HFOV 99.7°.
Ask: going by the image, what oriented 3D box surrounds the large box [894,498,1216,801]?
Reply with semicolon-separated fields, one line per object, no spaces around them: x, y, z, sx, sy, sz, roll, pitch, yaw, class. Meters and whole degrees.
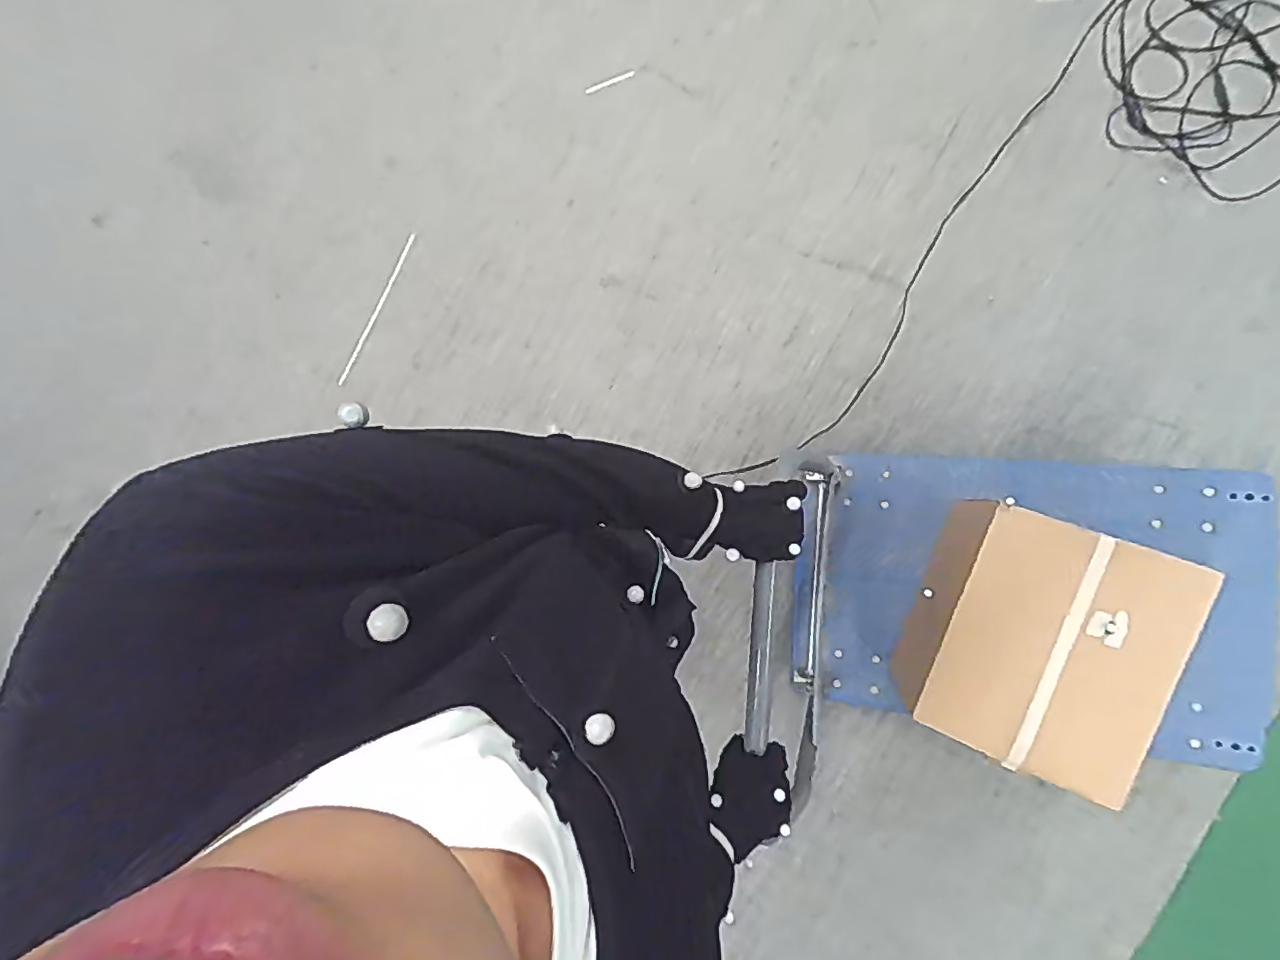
0.717;0.274;1.013;0.320;0.320;0.408;22;95;17;large box
